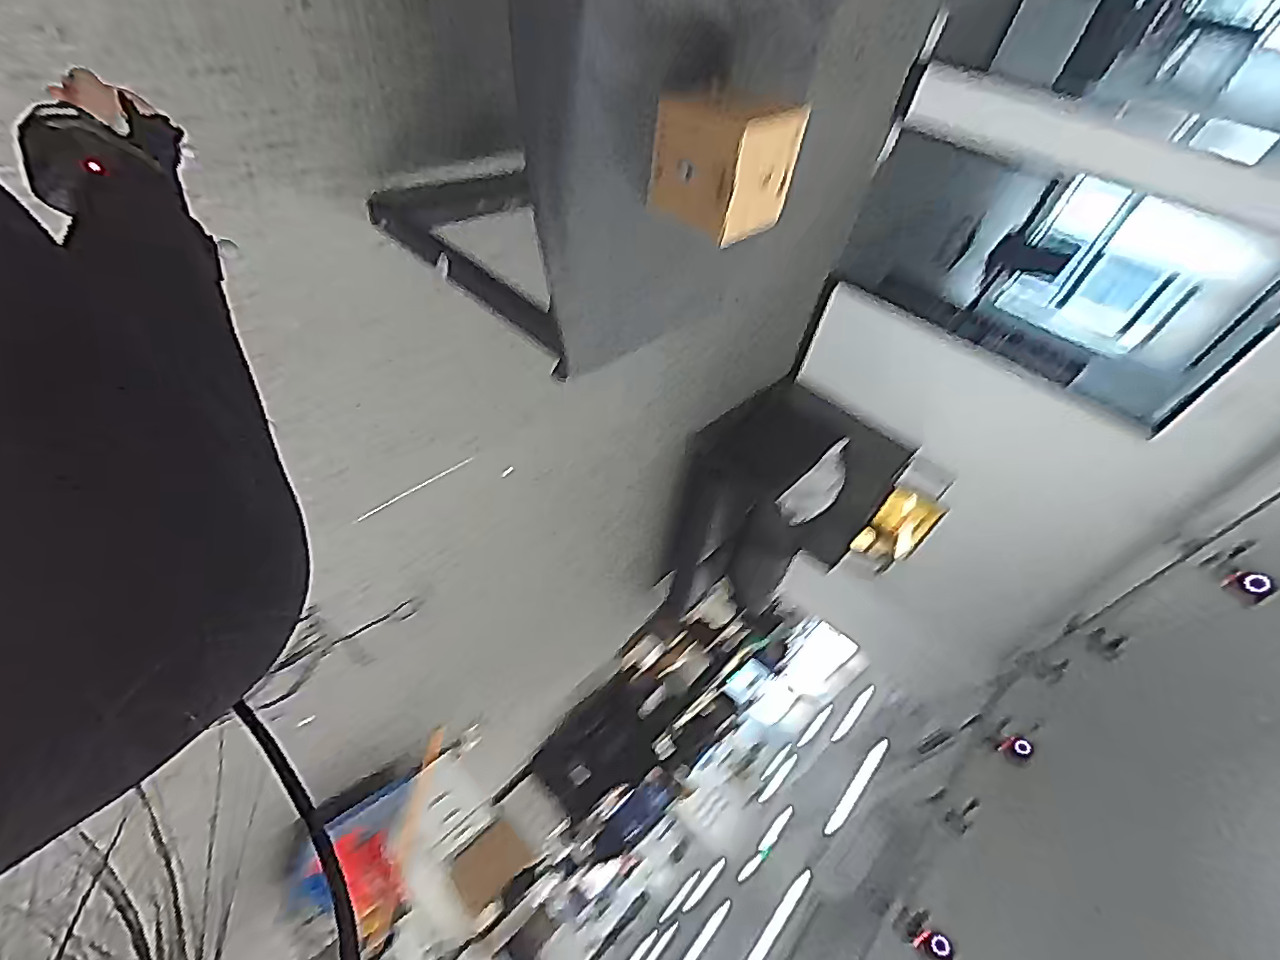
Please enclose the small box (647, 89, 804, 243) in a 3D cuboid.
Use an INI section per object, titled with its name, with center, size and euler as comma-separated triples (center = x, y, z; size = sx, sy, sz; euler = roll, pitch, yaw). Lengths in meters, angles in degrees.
[small box]
center = 0.131, -0.519, 0.889
size = 0.179, 0.176, 0.168
euler = -35, 151, -33
